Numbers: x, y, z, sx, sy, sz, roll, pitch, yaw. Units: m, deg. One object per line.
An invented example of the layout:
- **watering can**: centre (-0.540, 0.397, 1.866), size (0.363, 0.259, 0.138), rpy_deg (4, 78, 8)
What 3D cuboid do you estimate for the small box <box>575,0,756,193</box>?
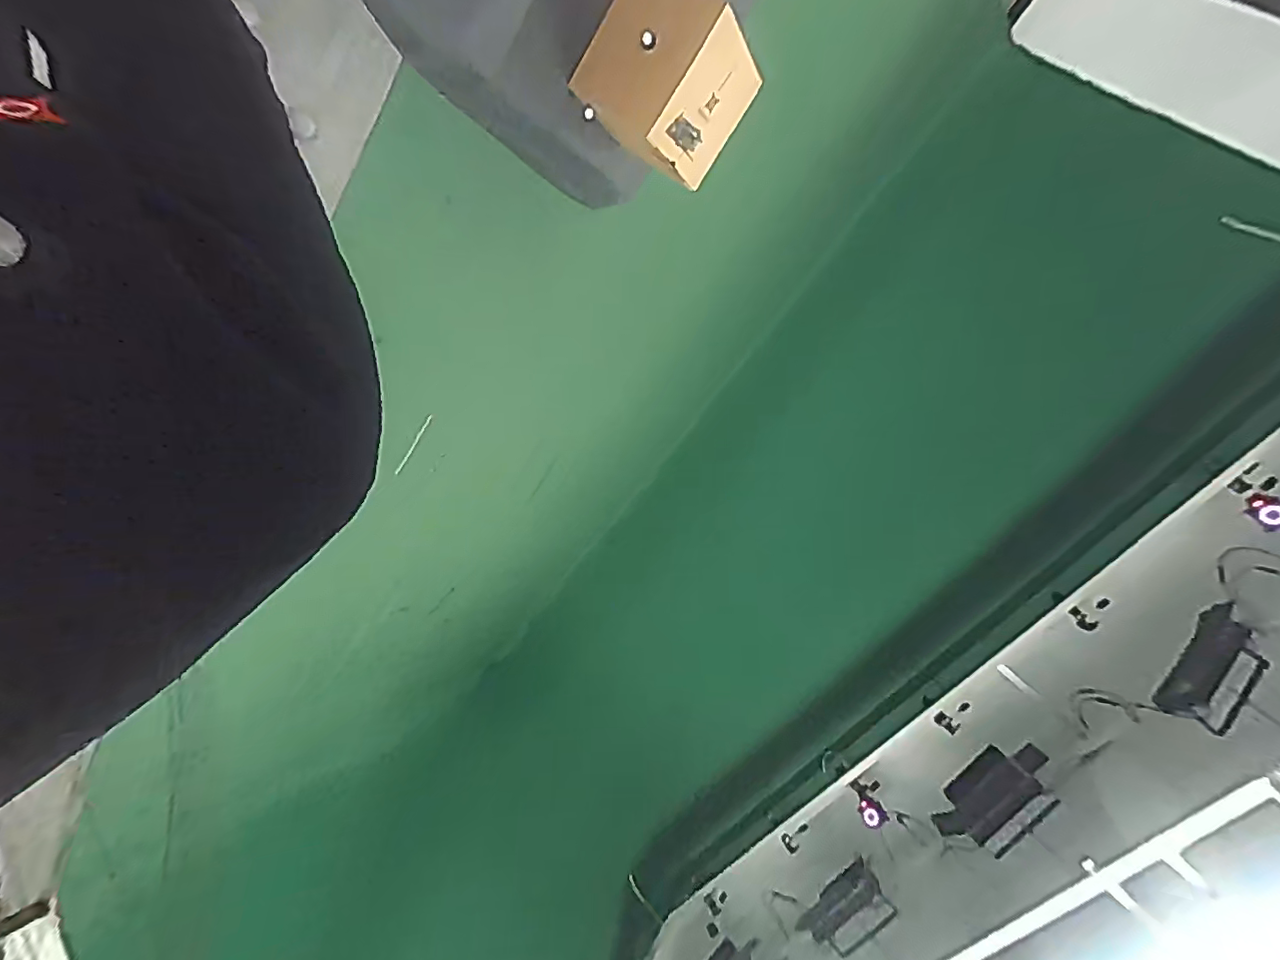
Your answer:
- **small box**: centre (0.032, -0.567, 0.784), size (0.179, 0.176, 0.168), rpy_deg (-55, 160, 18)
